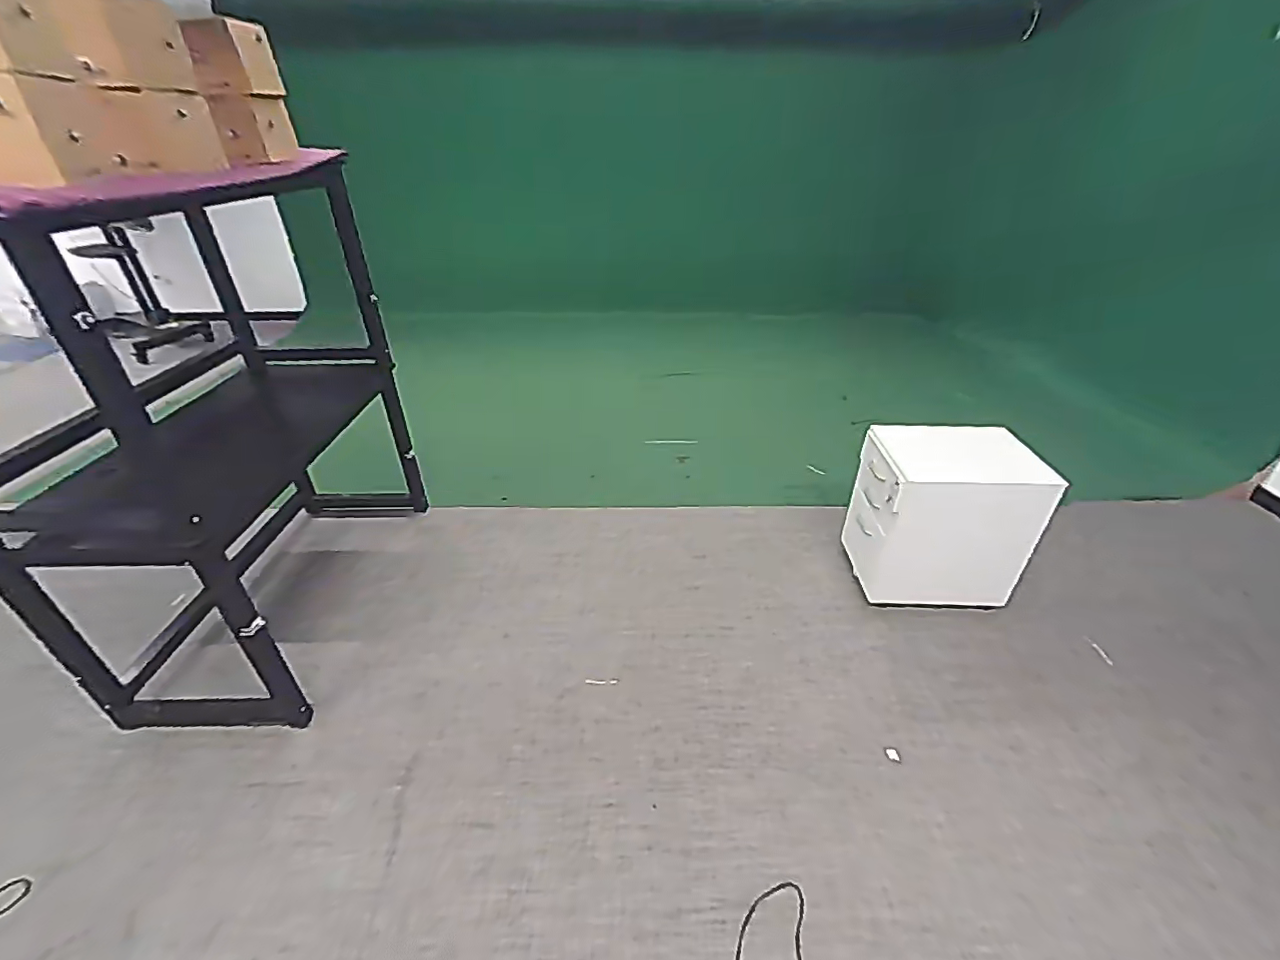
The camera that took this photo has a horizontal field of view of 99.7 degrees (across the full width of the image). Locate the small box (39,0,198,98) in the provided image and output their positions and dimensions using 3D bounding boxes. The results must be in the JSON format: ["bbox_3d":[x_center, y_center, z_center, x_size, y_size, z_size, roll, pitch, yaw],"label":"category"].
[{"bbox_3d":[-1.145,-0.956,1.209,0.168,0.176,0.179,5,34,9],"label":"small box"}]

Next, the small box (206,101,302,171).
[{"bbox_3d":[-1.158,-1.028,1.619,0.168,0.176,0.179,-1,34,1],"label":"small box"}]

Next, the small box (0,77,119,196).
[{"bbox_3d":[-1.104,-0.611,0.965,0.179,0.176,0.168,-6,32,-11],"label":"small box"}]

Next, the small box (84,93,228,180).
[{"bbox_3d":[-1.146,-0.822,1.300,0.168,0.176,0.179,1,32,0],"label":"small box"}]

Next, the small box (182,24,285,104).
[{"bbox_3d":[-1.151,-1.164,1.528,0.168,0.176,0.179,-2,34,1],"label":"small box"}]
